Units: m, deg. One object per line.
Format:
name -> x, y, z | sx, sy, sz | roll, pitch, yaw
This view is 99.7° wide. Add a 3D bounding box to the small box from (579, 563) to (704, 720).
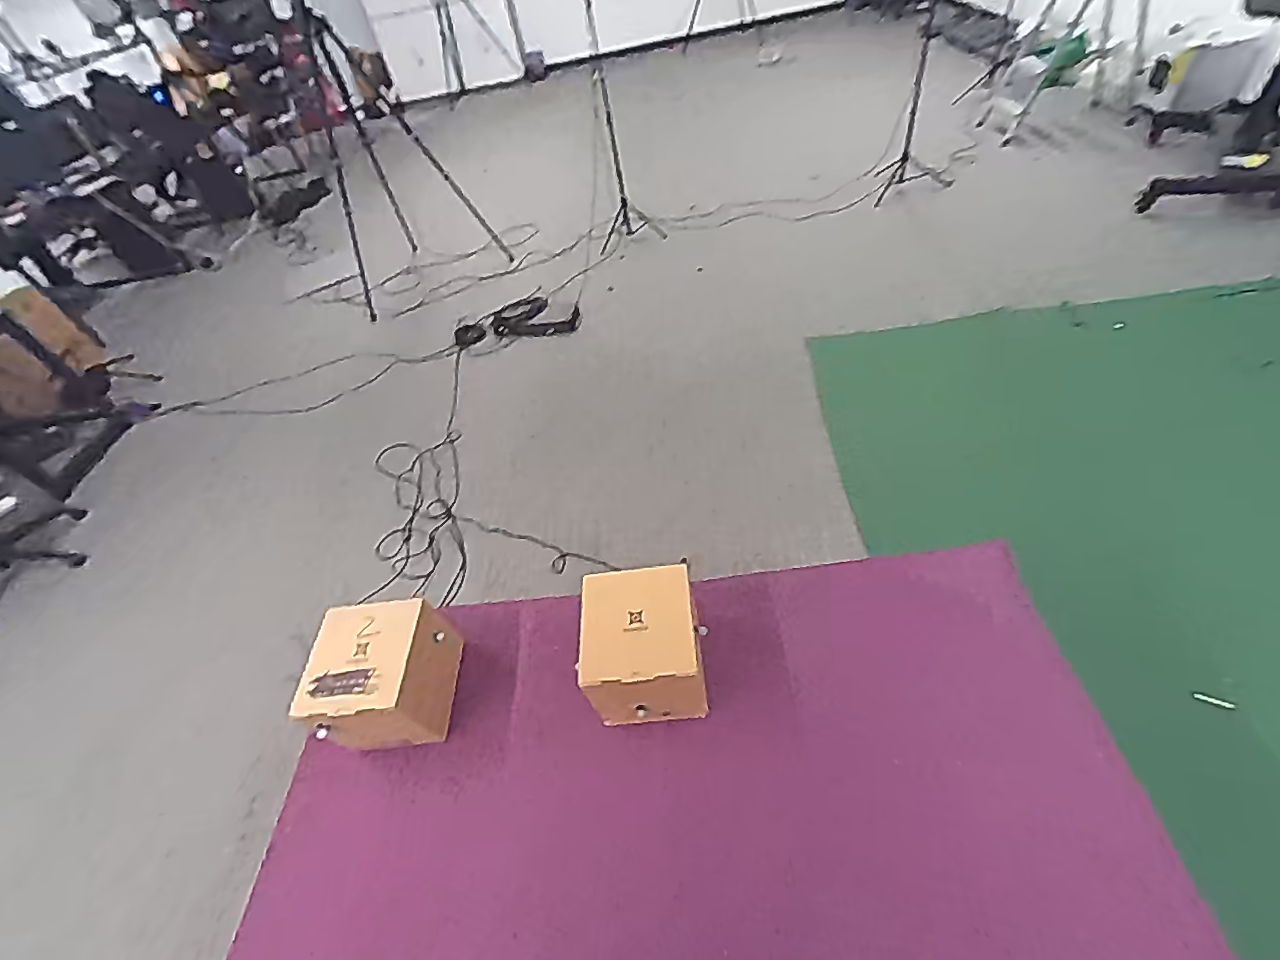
small box -> 0.006, 0.252, 0.839 | 0.168, 0.176, 0.179 | -7, 49, 5
